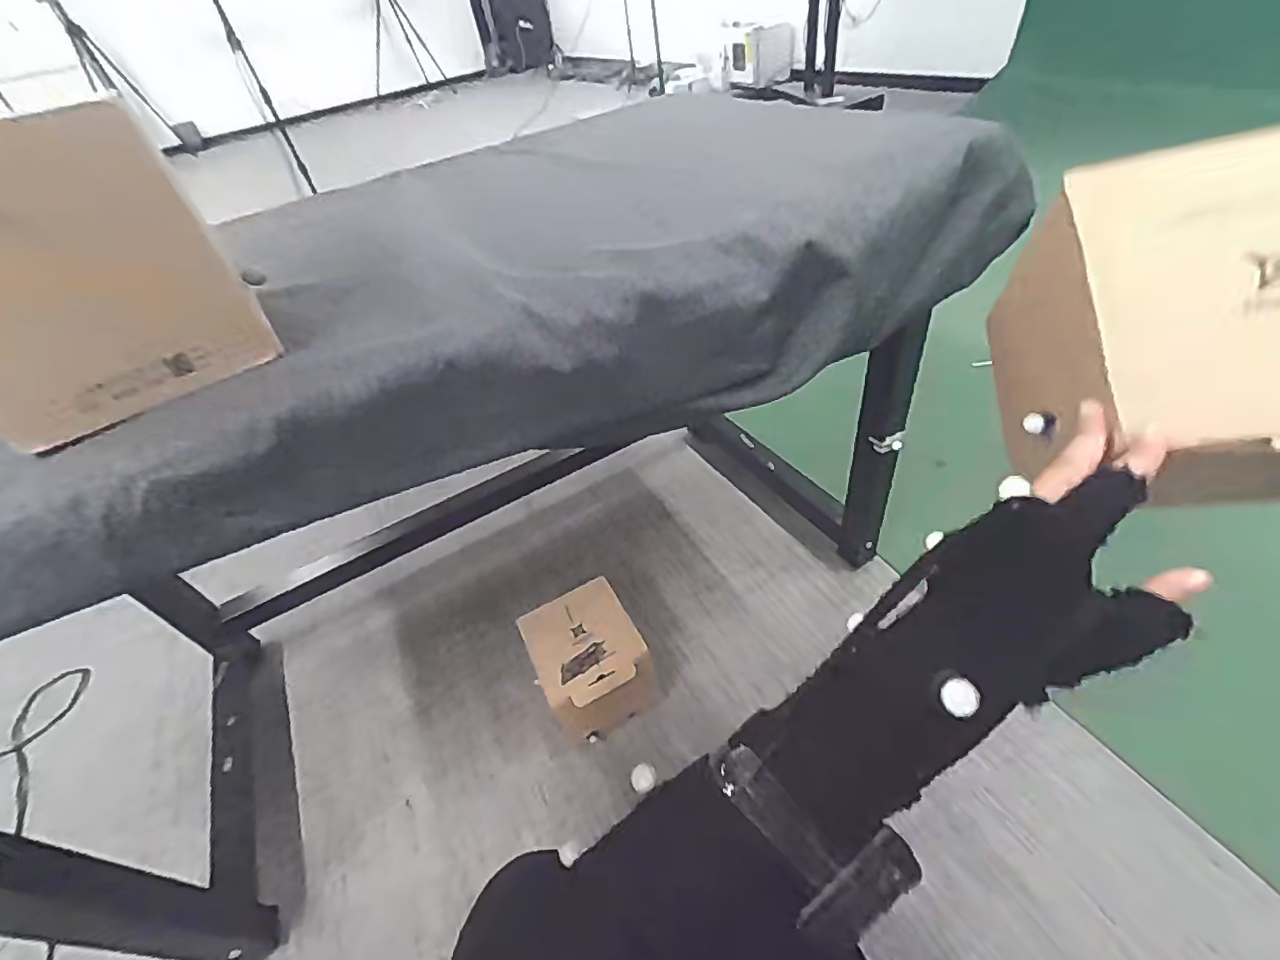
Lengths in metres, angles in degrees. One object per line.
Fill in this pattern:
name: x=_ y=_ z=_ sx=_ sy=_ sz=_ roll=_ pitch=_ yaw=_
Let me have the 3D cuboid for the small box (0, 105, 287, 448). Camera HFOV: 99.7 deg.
small box: x=-0.394 y=-0.150 z=0.390 sx=0.168 sy=0.176 sz=0.179 roll=-33 pitch=45 yaw=-20

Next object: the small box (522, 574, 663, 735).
small box: x=-0.075 y=0.300 z=0.914 sx=0.168 sy=0.176 sz=0.179 roll=-26 pitch=44 yaw=-13
